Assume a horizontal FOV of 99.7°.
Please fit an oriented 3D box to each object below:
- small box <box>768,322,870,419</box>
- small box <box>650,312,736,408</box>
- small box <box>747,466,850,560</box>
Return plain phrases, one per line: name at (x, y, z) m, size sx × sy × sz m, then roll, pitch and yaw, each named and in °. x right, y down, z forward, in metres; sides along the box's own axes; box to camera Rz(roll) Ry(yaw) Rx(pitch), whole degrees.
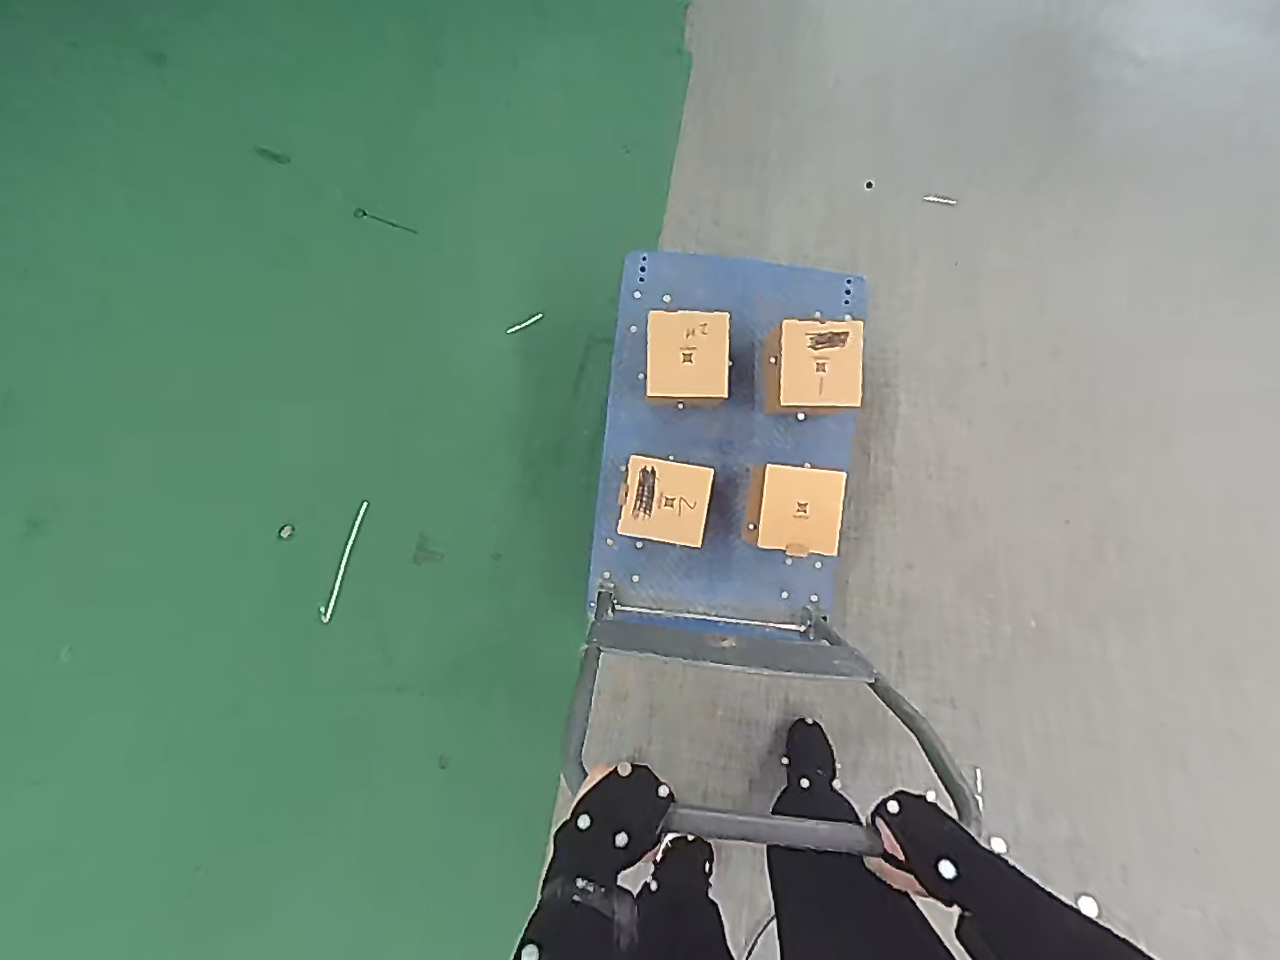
small box at (0.378, -0.230, 1.167) m, size 0.168 × 0.176 × 0.179 m, roll 2°, pitch 92°, yaw 1°
small box at (0.108, -0.251, 1.169) m, size 0.168 × 0.176 × 0.179 m, roll 2°, pitch 91°, yaw 0°
small box at (0.335, 0.066, 1.173) m, size 0.168 × 0.176 × 0.179 m, roll 7°, pitch 92°, yaw 0°
